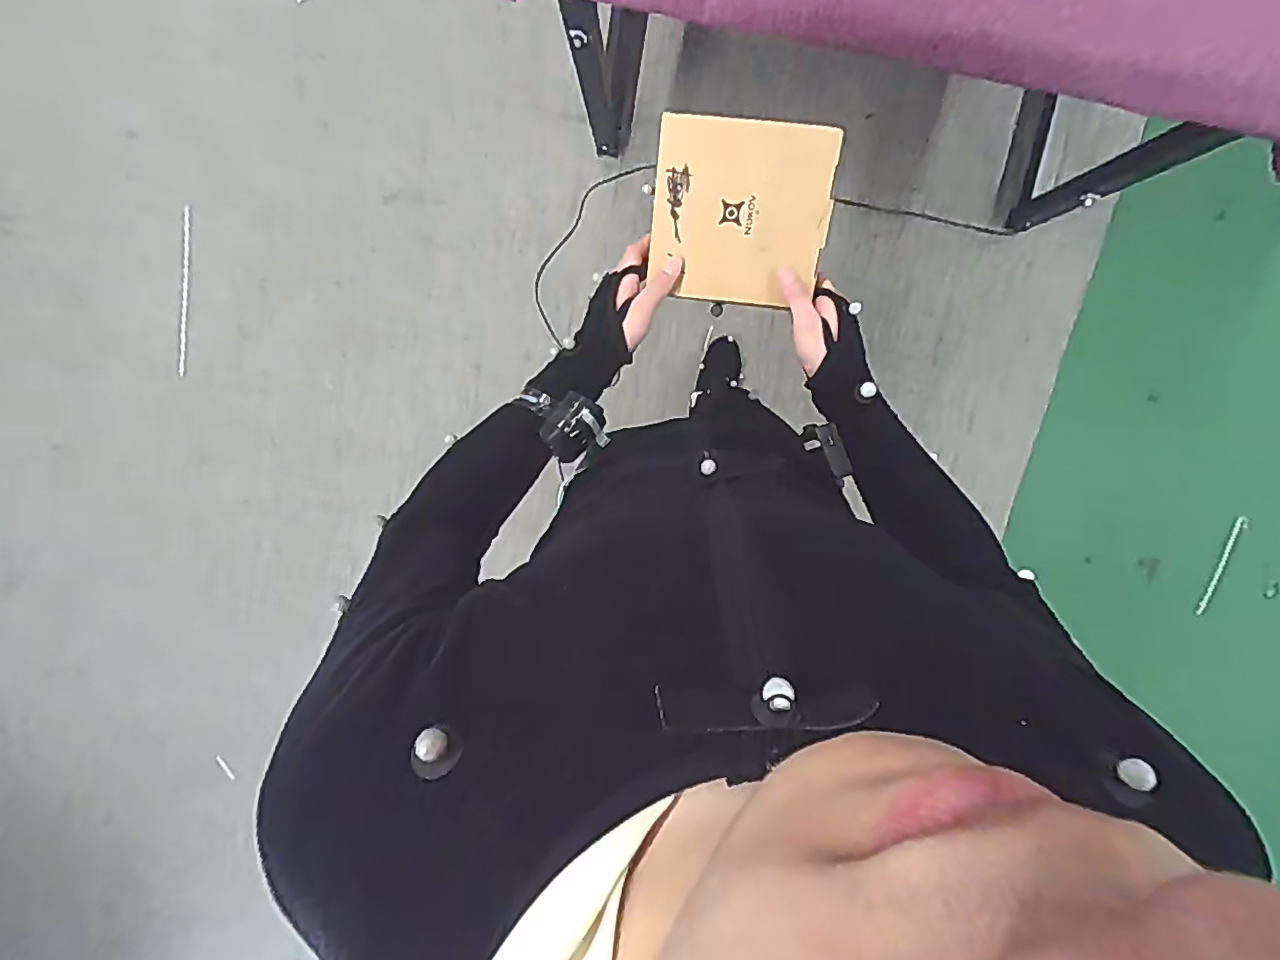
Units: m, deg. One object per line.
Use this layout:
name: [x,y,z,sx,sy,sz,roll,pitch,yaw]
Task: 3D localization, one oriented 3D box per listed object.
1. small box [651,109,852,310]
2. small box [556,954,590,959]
small box: [0.109,-0.288,0.607,0.179,0.176,0.168,6,108,1]
small box: [-0.123,1.170,1.150,0.179,0.176,0.168,15,98,0]
